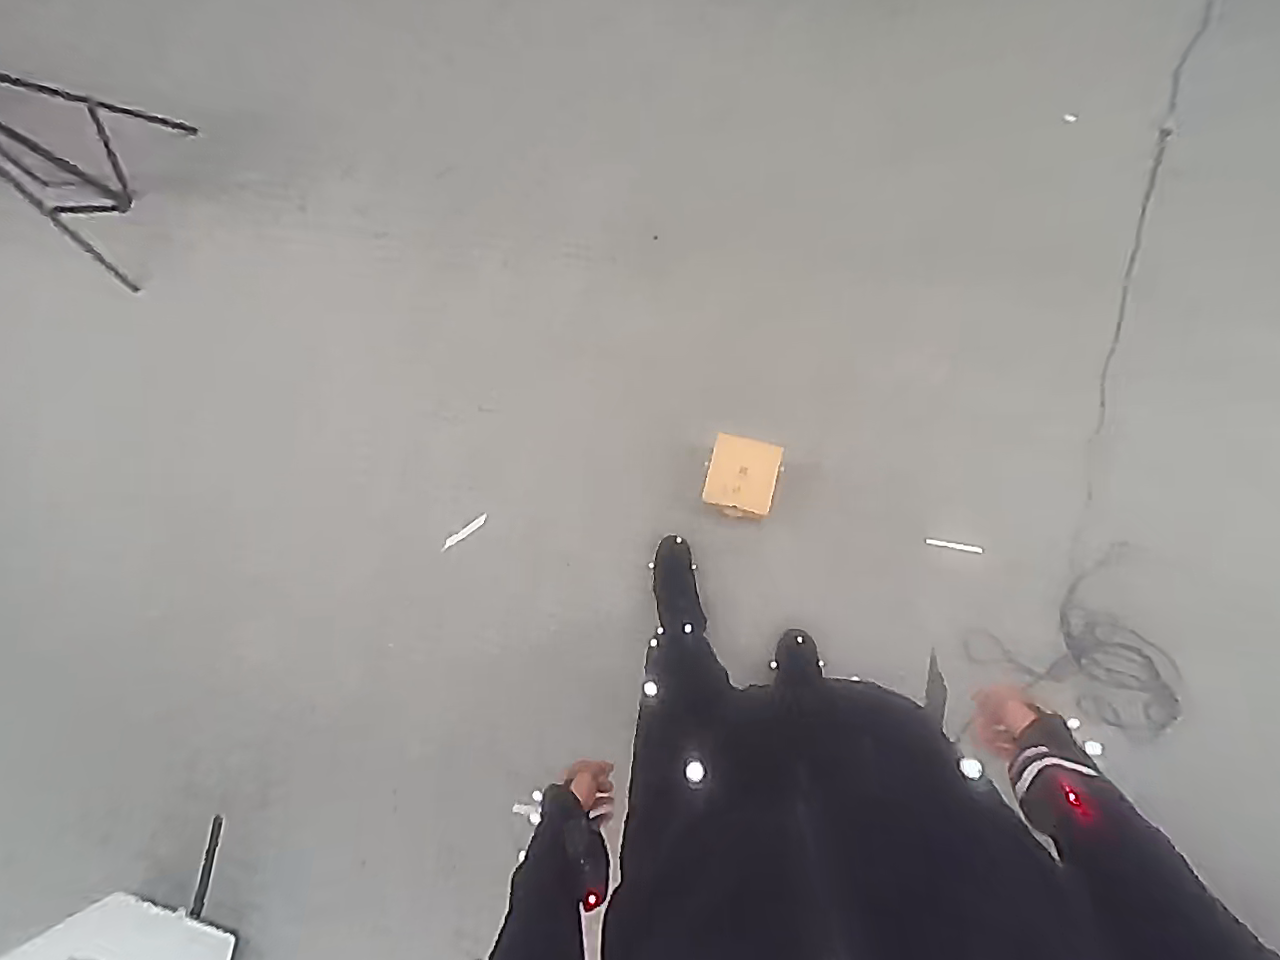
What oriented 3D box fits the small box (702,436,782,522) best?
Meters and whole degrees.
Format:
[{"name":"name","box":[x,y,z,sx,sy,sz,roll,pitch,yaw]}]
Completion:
[{"name":"small box","box":[0.260,0.003,1.398,0.168,0.176,0.179,13,84,10]}]
